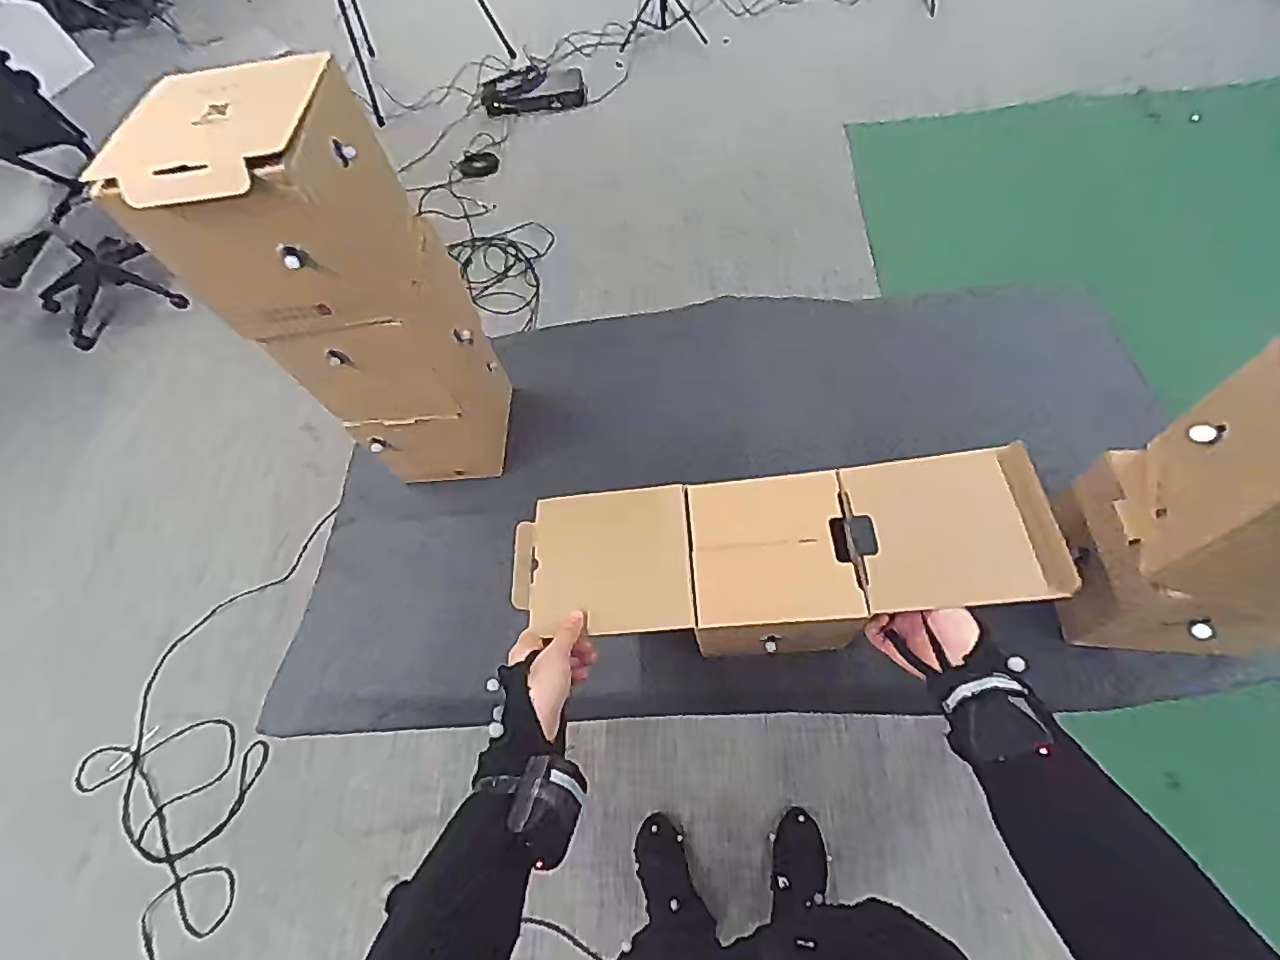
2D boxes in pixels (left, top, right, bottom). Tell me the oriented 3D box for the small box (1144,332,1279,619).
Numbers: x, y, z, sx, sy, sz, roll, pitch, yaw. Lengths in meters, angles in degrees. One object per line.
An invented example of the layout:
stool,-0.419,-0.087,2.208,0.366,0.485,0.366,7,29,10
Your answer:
small box,0.563,0.011,0.437,0.179,0.176,0.168,21,64,18

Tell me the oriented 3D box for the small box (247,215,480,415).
small box,-0.320,-0.192,0.668,0.179,0.176,0.168,-3,64,6

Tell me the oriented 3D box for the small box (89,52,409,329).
small box,-0.347,-0.265,0.525,0.168,0.176,0.179,-6,61,3

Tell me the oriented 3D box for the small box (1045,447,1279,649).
small box,0.580,0.079,0.585,0.179,0.176,0.168,1,60,10

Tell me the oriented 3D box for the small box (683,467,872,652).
small box,0.148,0.102,0.635,0.179,0.176,0.168,-6,62,8
